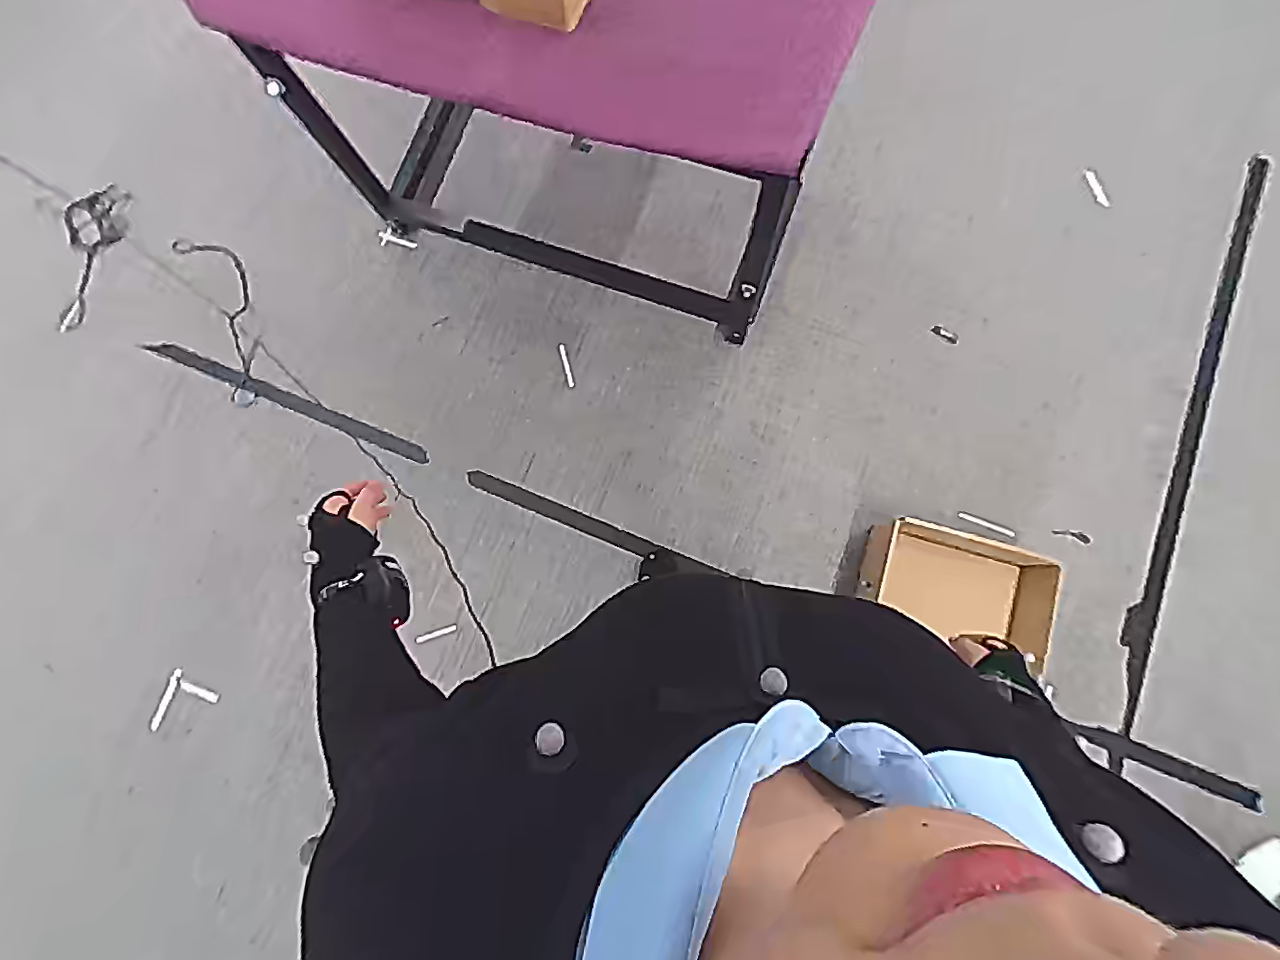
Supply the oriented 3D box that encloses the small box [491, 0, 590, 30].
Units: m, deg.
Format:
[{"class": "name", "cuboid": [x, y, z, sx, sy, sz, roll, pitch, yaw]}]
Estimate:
[{"class": "small box", "cuboid": [-0.162, -0.901, 0.892, 0.179, 0.176, 0.168, 21, 83, 7]}]
